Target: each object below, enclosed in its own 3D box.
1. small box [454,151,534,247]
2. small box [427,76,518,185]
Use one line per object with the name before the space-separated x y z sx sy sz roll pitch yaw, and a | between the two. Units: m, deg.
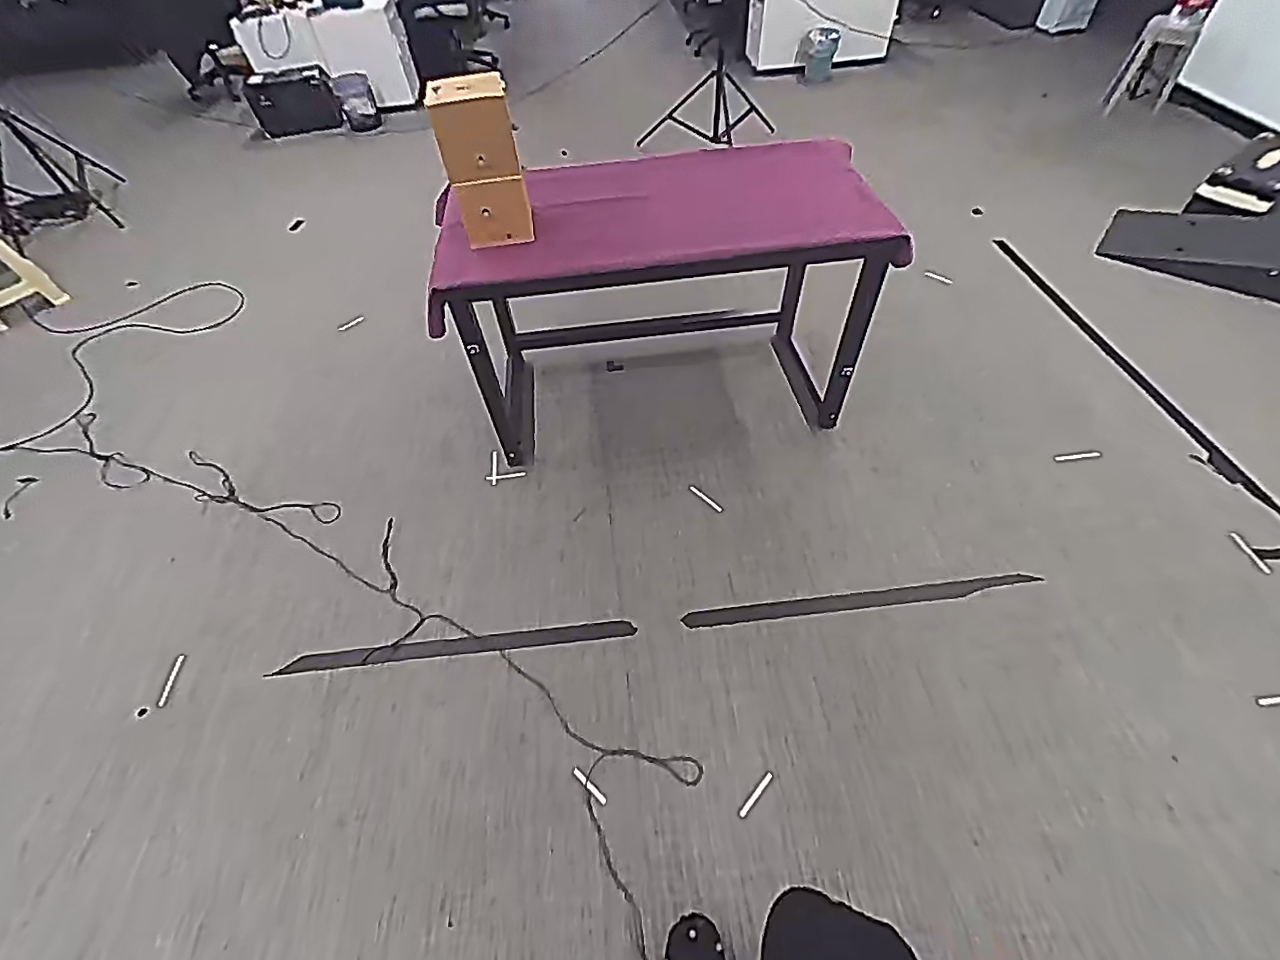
small box | -0.380 -0.732 1.424 0.168 0.176 0.179 -10 52 -4
small box | -0.395 -0.837 1.298 0.179 0.176 0.168 -11 52 -6
